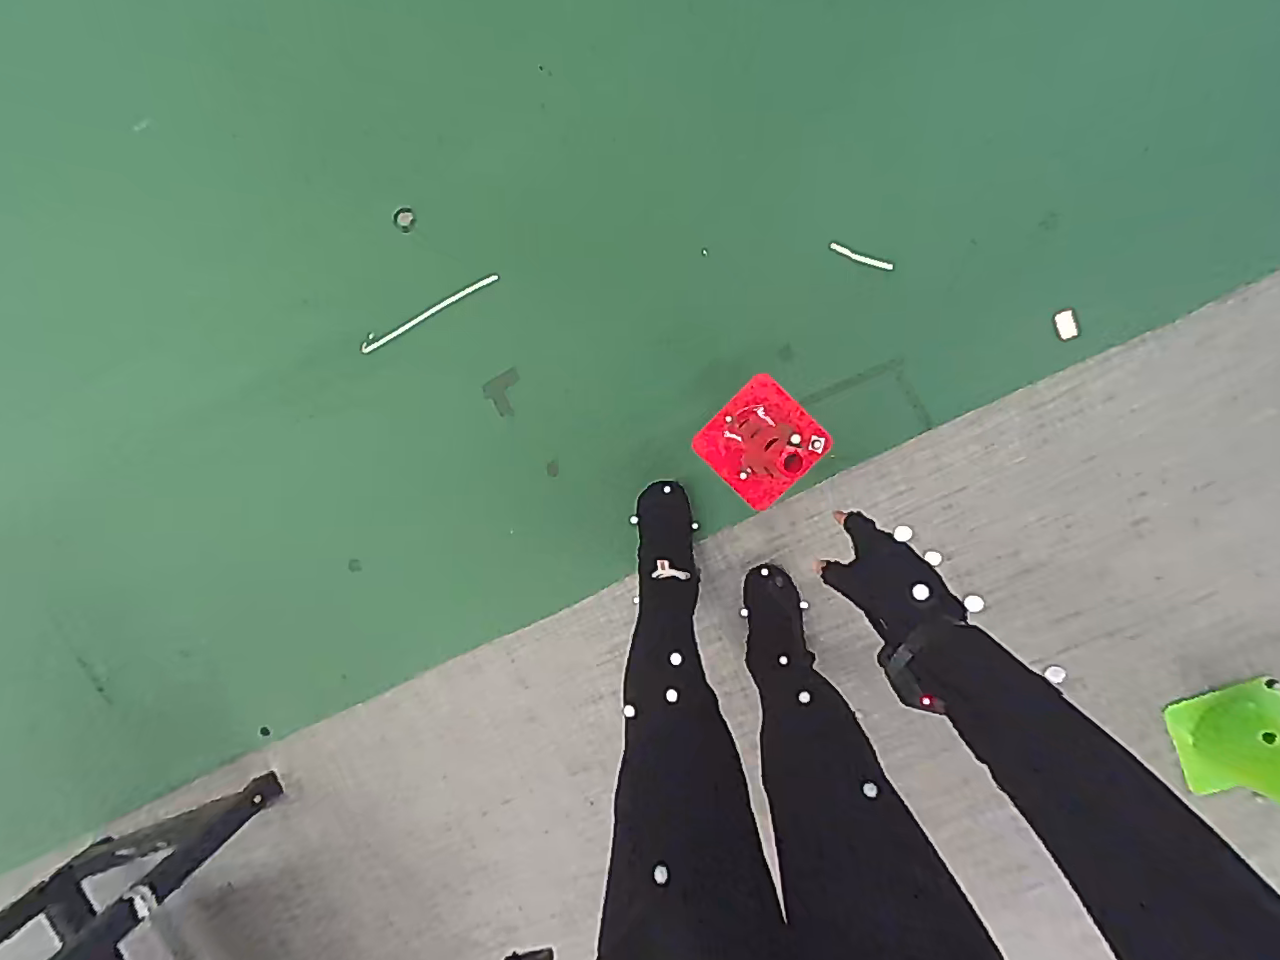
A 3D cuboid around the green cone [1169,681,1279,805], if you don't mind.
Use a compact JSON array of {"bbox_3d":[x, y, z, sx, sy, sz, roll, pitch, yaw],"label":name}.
[{"bbox_3d":[1.103,0.516,0.849,0.200,0.368,0.202,-24,95,9],"label":"green cone"}]
